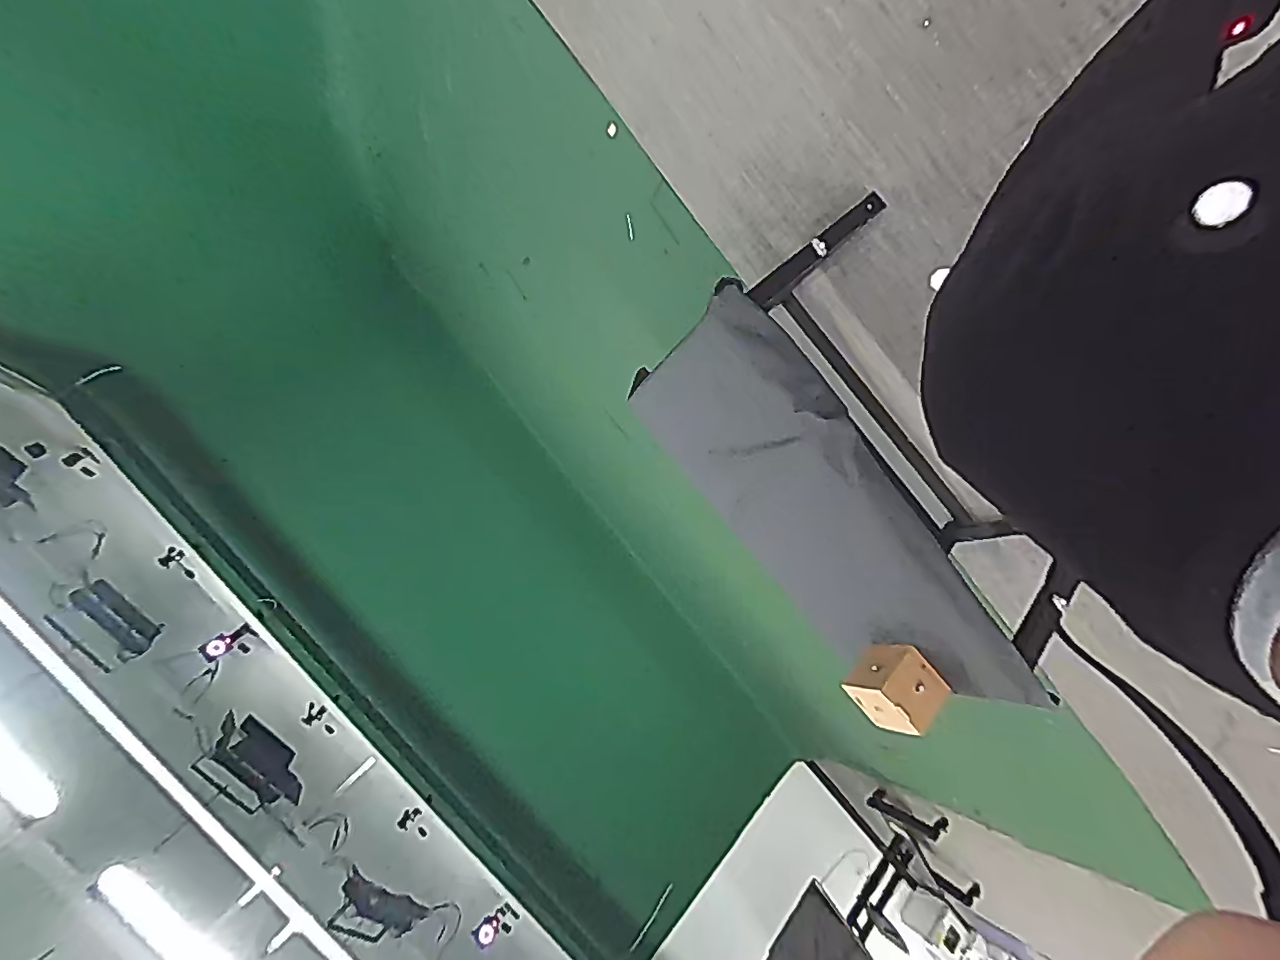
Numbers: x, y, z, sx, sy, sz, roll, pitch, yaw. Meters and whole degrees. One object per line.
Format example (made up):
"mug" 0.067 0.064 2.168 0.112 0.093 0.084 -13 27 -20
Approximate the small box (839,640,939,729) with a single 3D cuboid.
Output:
"small box" 0.713 0.572 1.534 0.168 0.176 0.179 49 157 0
